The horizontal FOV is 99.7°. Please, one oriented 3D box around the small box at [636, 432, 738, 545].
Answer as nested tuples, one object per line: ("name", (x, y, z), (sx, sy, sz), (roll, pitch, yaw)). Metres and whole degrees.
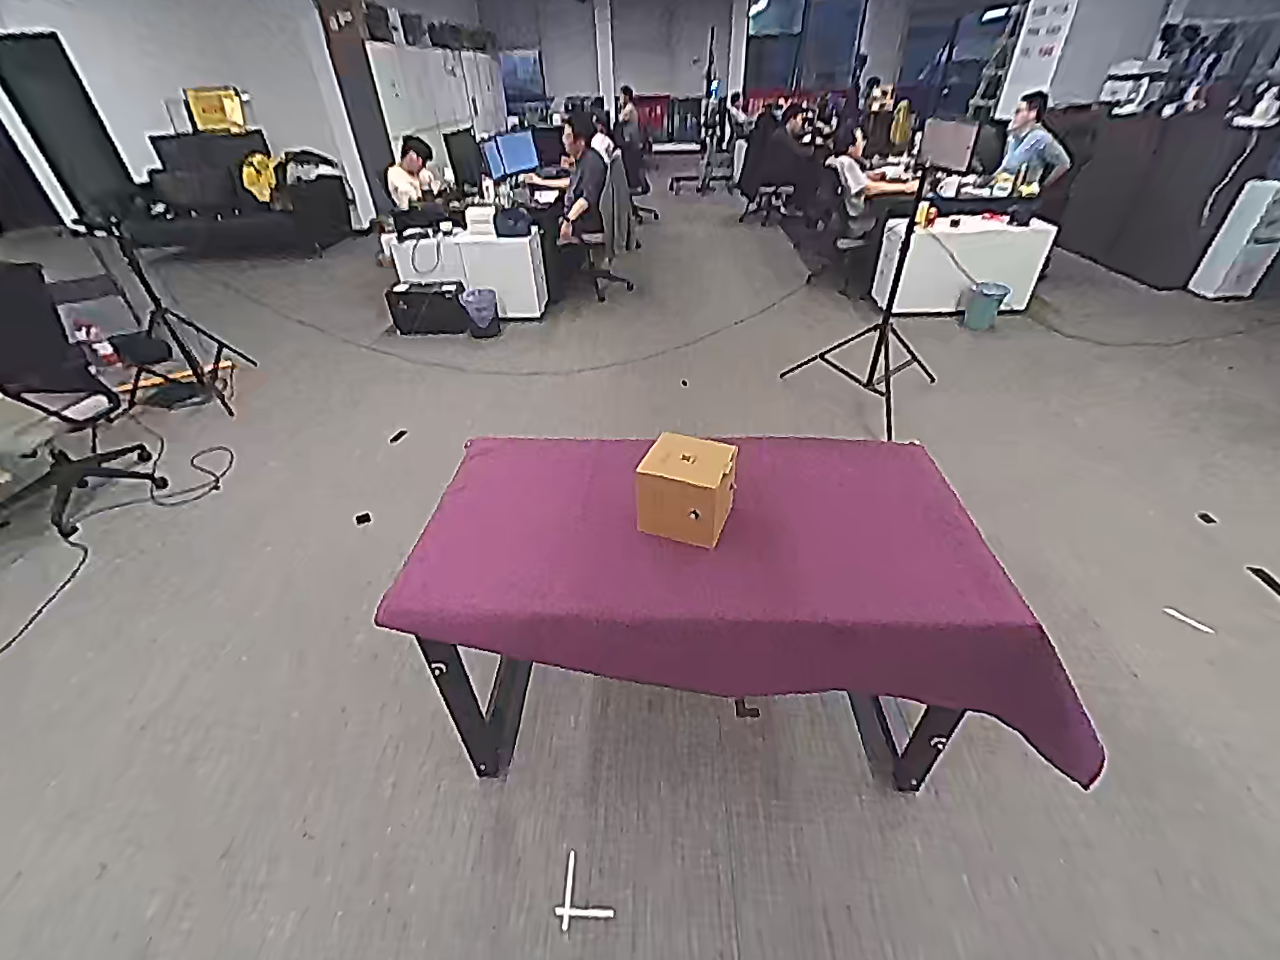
("small box", (0.105, 0.020, 1.181), (0.179, 0.176, 0.168), (11, 38, 19))
